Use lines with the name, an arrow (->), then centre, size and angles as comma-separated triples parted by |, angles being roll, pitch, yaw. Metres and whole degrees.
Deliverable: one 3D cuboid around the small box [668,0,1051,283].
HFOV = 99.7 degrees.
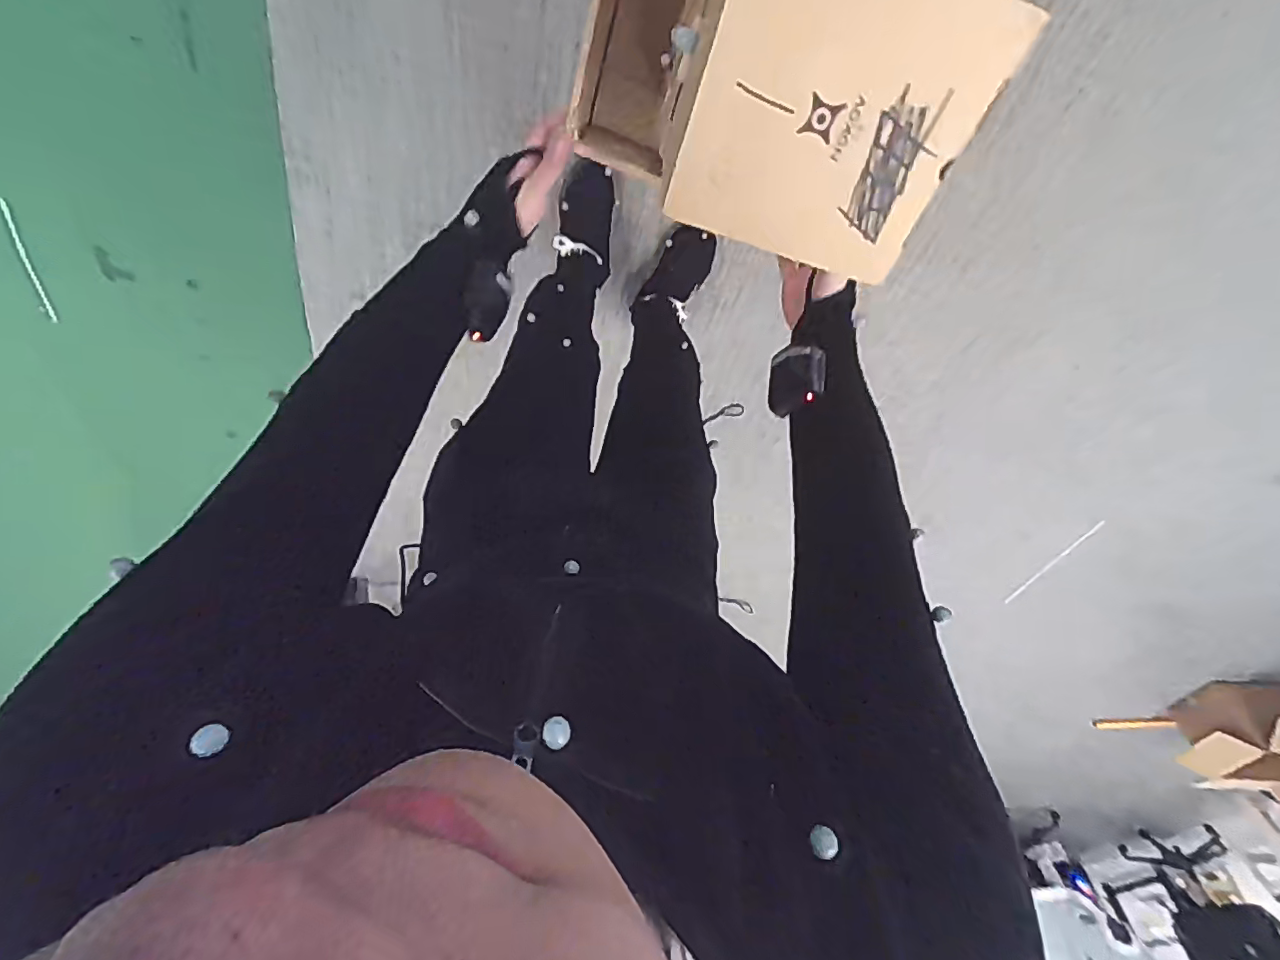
small box -> 0.128, -0.277, 0.395 | 0.179, 0.176, 0.168 | 14, 132, -10
